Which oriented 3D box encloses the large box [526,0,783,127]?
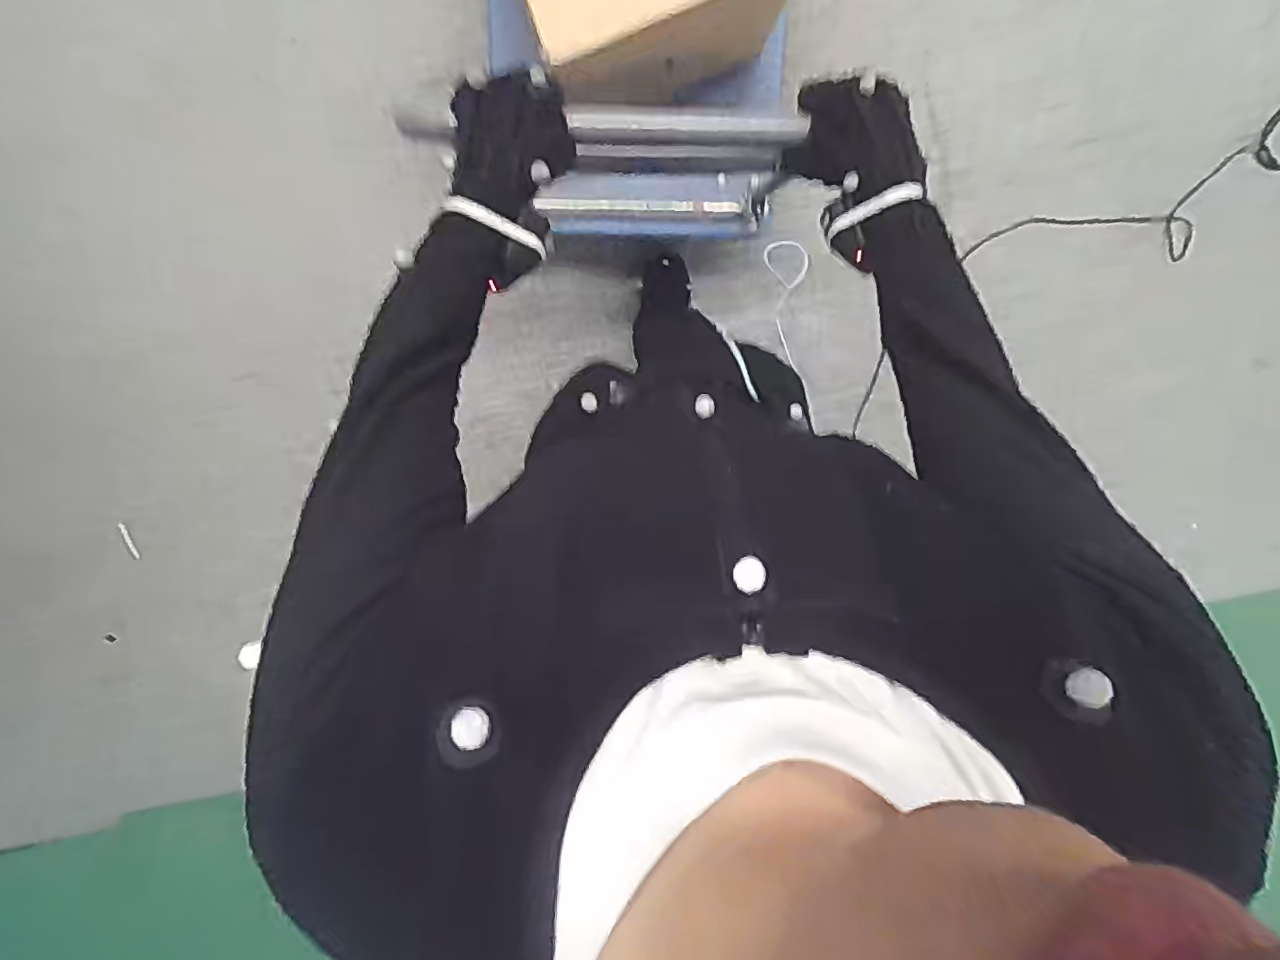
[{"bbox_3d":[0.002,-0.864,0.890,0.408,0.320,0.320,-19,106,5],"label":"large box"}]
